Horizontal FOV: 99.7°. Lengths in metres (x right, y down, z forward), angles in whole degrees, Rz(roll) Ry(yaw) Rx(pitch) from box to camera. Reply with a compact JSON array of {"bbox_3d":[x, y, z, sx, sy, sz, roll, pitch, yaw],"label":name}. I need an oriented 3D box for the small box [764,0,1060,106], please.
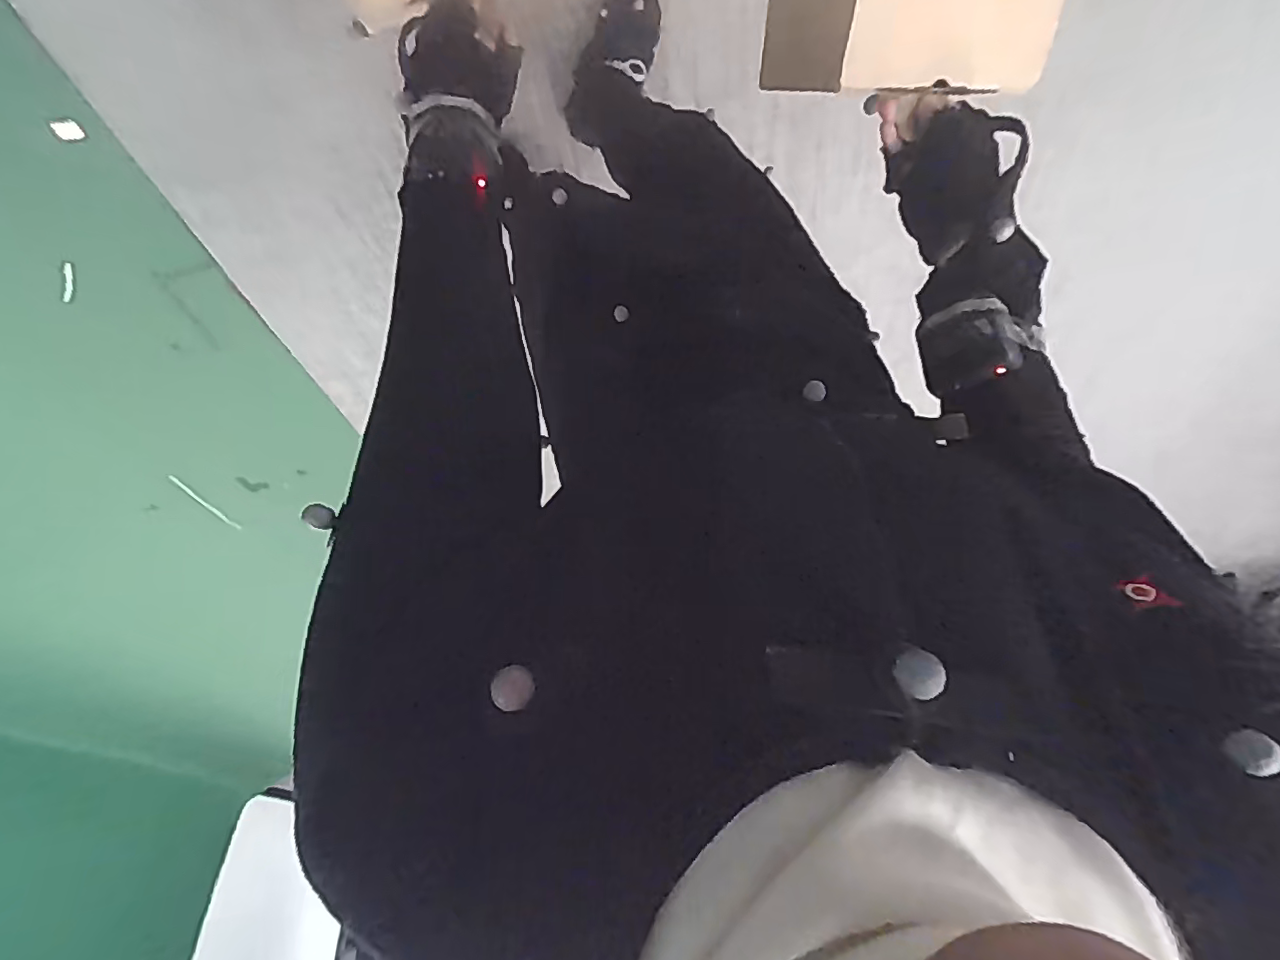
[{"bbox_3d":[0.212,-0.411,0.432,0.168,0.176,0.179,-6,127,-10],"label":"small box"}]
